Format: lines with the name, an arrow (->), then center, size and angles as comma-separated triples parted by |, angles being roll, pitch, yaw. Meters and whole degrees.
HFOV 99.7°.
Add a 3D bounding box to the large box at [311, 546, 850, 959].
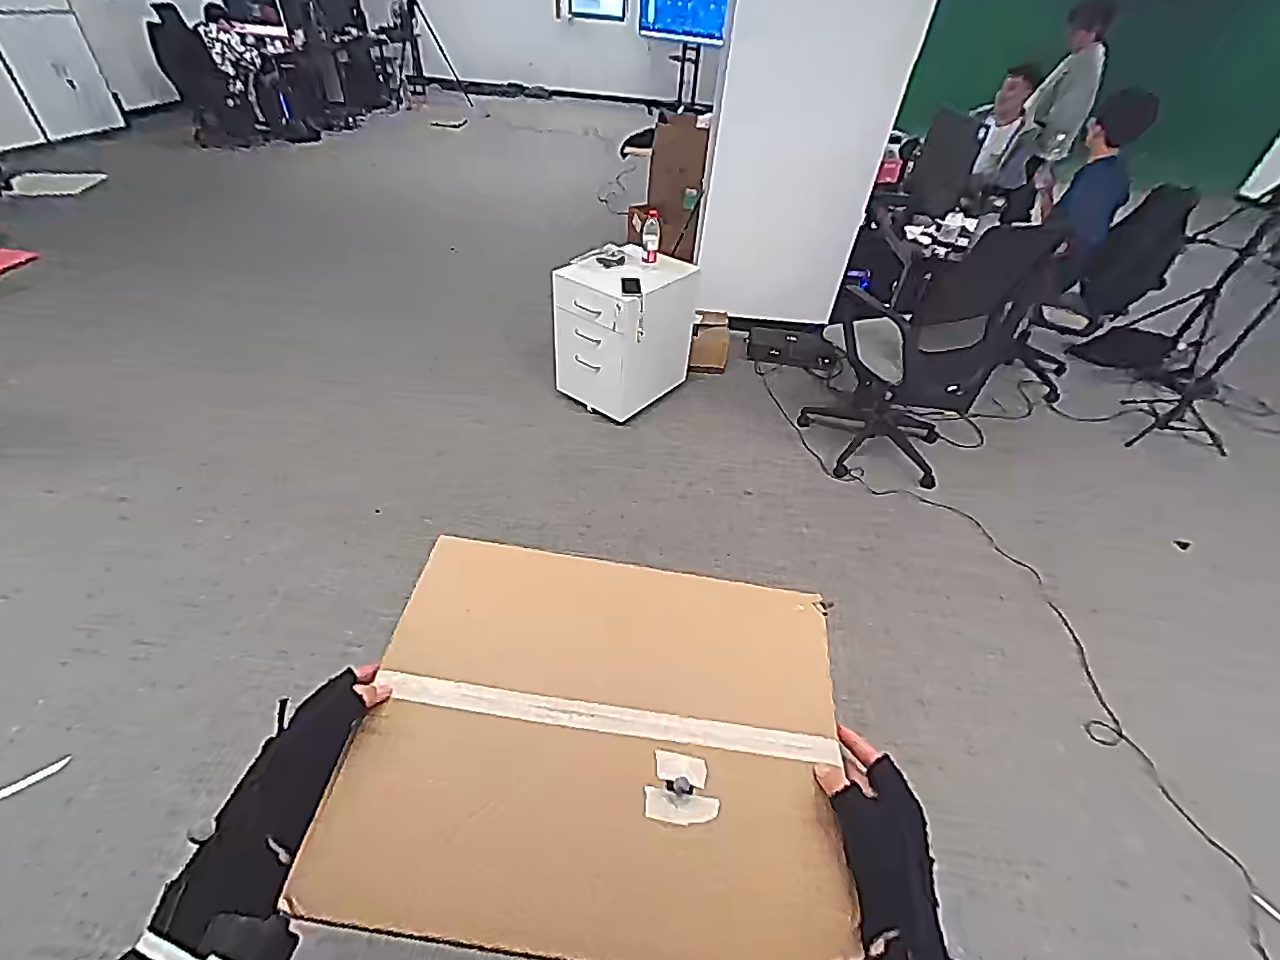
large box -> -0.045, 0.307, 0.597 | 0.408, 0.320, 0.320 | 9, 50, -1
